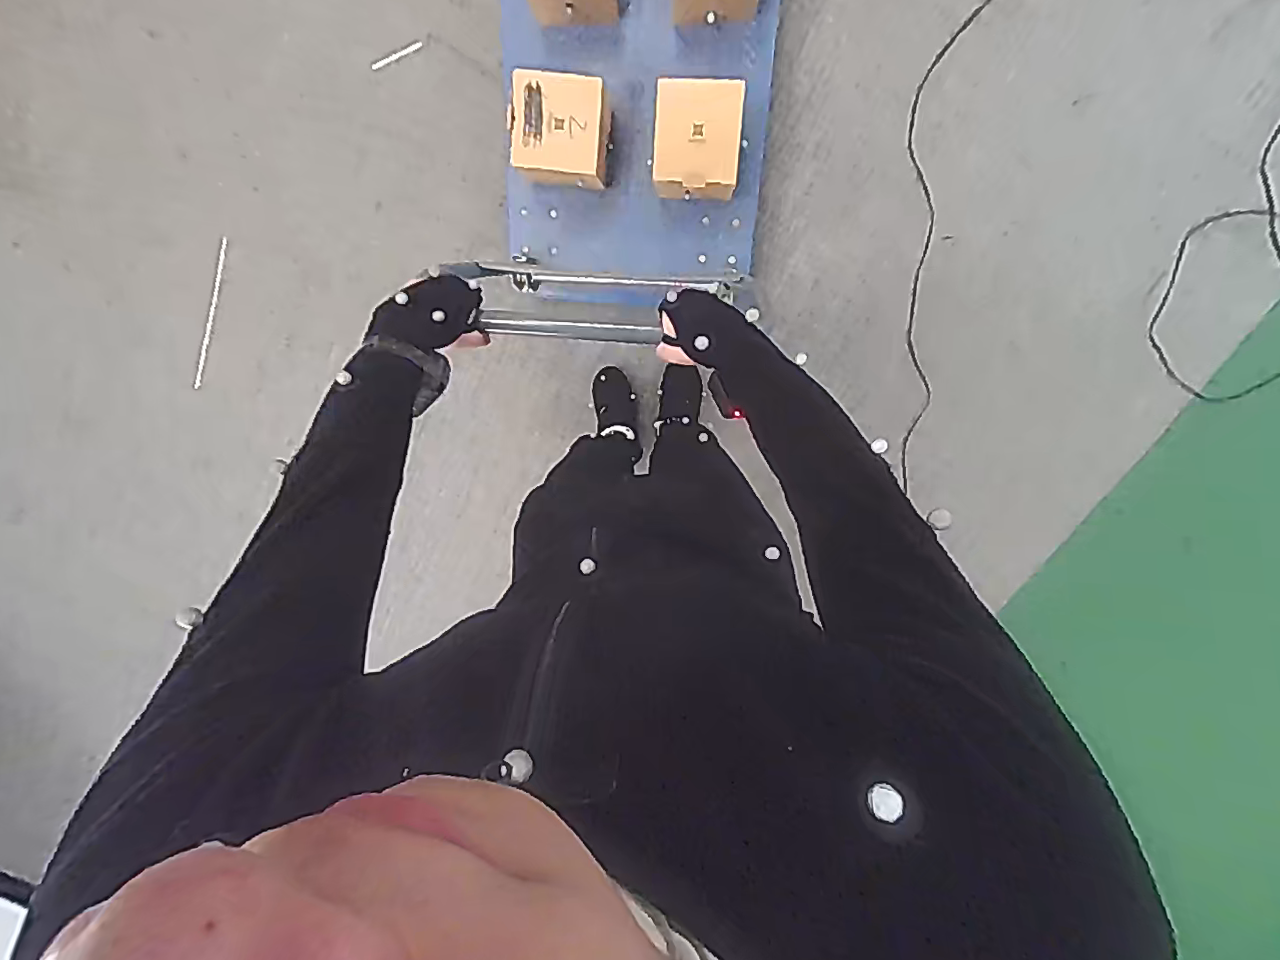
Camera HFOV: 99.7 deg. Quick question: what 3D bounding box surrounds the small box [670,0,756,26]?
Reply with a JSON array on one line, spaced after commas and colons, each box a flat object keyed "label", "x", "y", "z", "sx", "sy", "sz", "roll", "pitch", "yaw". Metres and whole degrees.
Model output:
[{"label": "small box", "x": 0.138, "y": -0.986, "z": 1.000, "sx": 0.168, "sy": 0.176, "sz": 0.179, "roll": 1, "pitch": 110, "yaw": 5}]

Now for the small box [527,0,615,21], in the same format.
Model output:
[{"label": "small box", "x": -0.137, "y": -0.999, "z": 1.015, "sx": 0.168, "sy": 0.176, "sz": 0.179, "roll": 0, "pitch": 109, "yaw": 3}]

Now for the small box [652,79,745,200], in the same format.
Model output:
[{"label": "small box", "x": 0.114, "y": -0.688, "z": 1.109, "sx": 0.168, "sy": 0.176, "sz": 0.179, "roll": 4, "pitch": 110, "yaw": 3}]
